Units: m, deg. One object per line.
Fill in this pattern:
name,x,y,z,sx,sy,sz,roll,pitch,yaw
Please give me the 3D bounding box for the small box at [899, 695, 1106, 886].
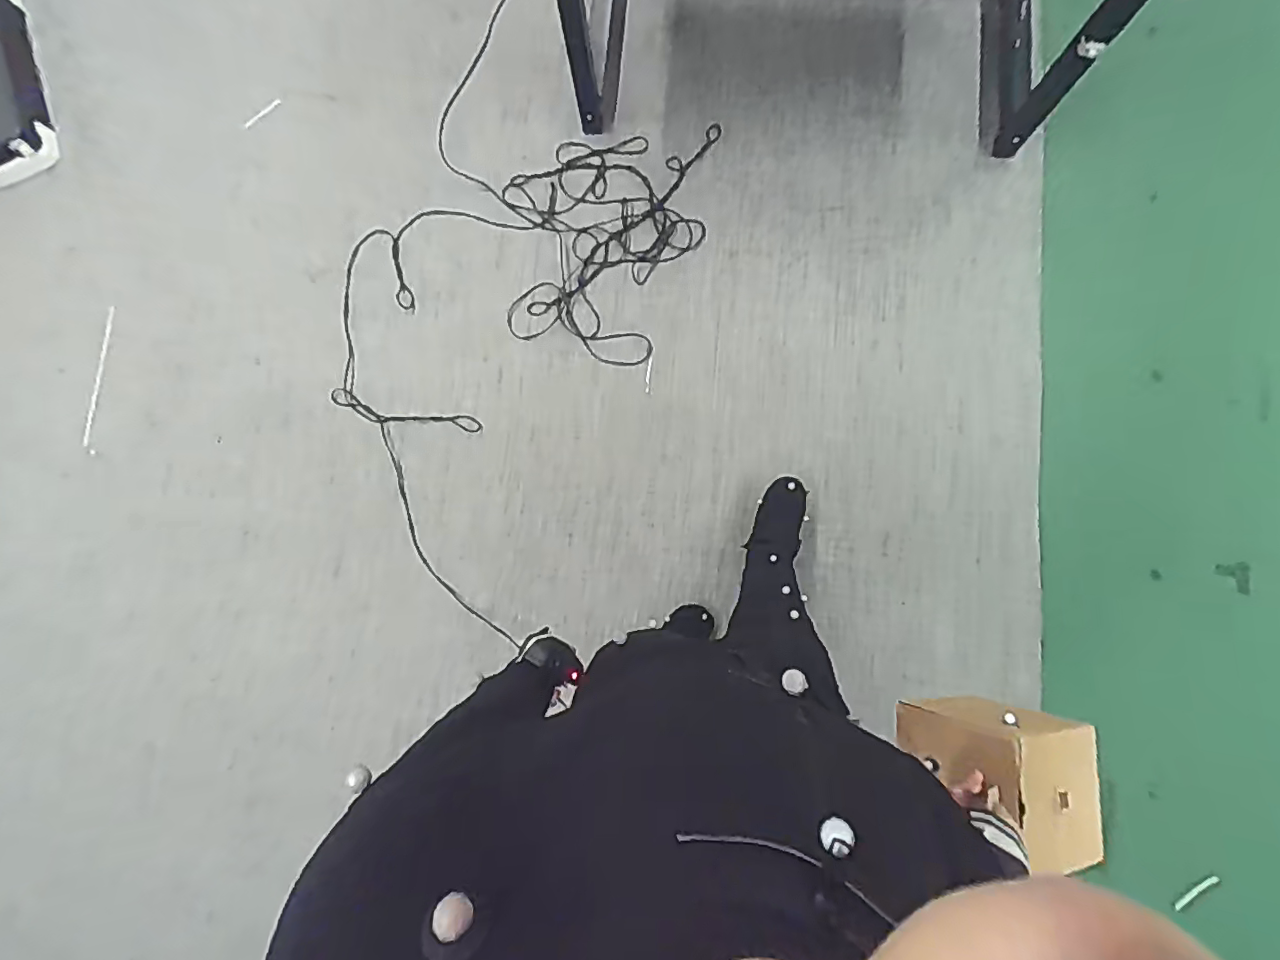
small box,0.478,0.394,0.726,0.179,0.176,0.168,7,80,-26
